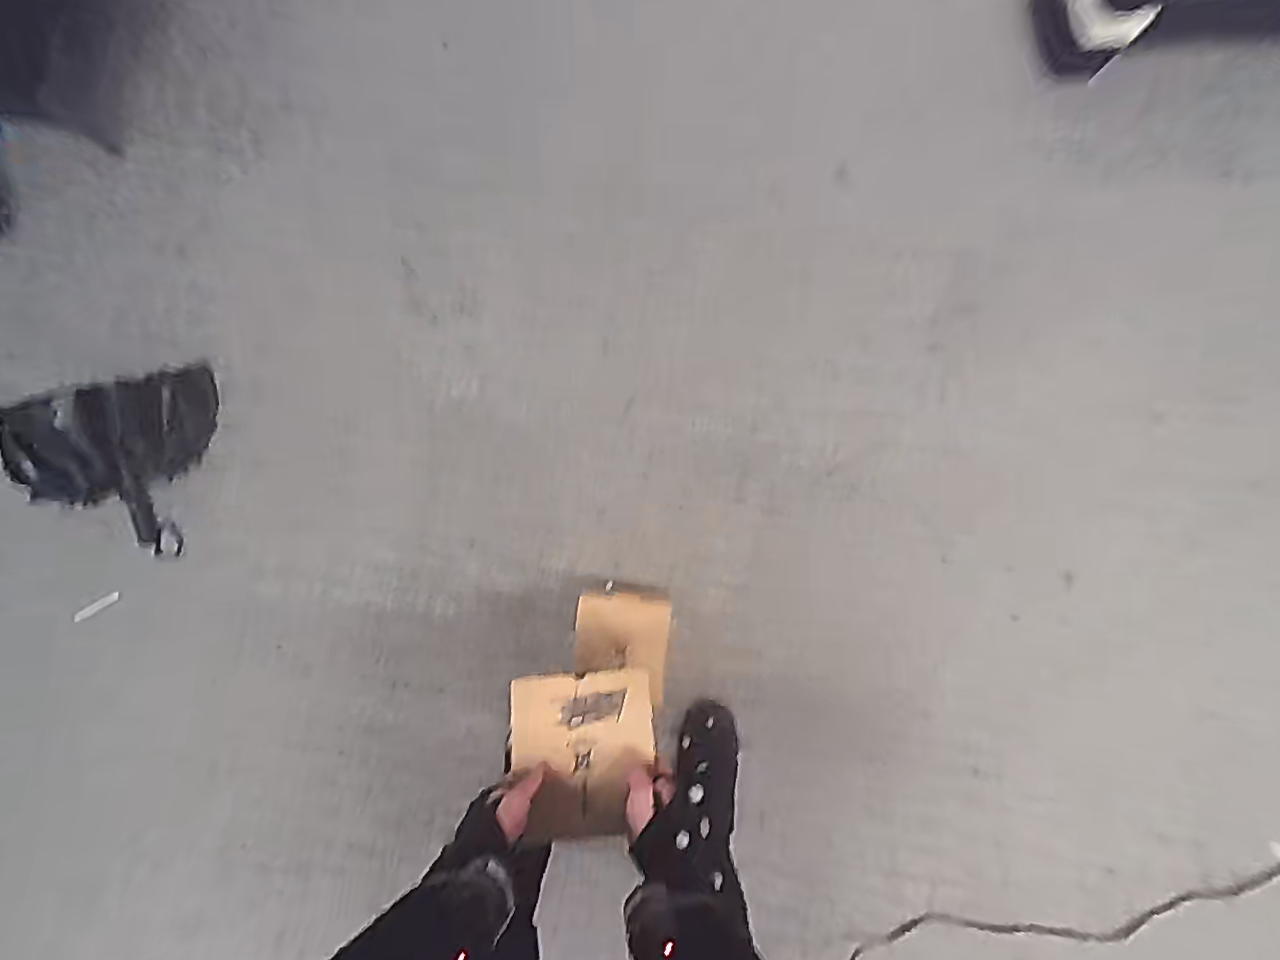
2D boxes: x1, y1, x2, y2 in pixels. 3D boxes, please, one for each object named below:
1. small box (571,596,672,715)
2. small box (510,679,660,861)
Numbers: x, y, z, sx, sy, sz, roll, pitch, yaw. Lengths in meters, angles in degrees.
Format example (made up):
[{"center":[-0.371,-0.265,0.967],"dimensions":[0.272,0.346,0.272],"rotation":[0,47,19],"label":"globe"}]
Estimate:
[{"center":[-0.031,0.318,1.015],"dimensions":[0.168,0.176,0.179],"rotation":[5,85,3],"label":"small box"},{"center":[-0.066,0.352,0.688],"dimensions":[0.168,0.176,0.179],"rotation":[-3,70,-2],"label":"small box"}]
